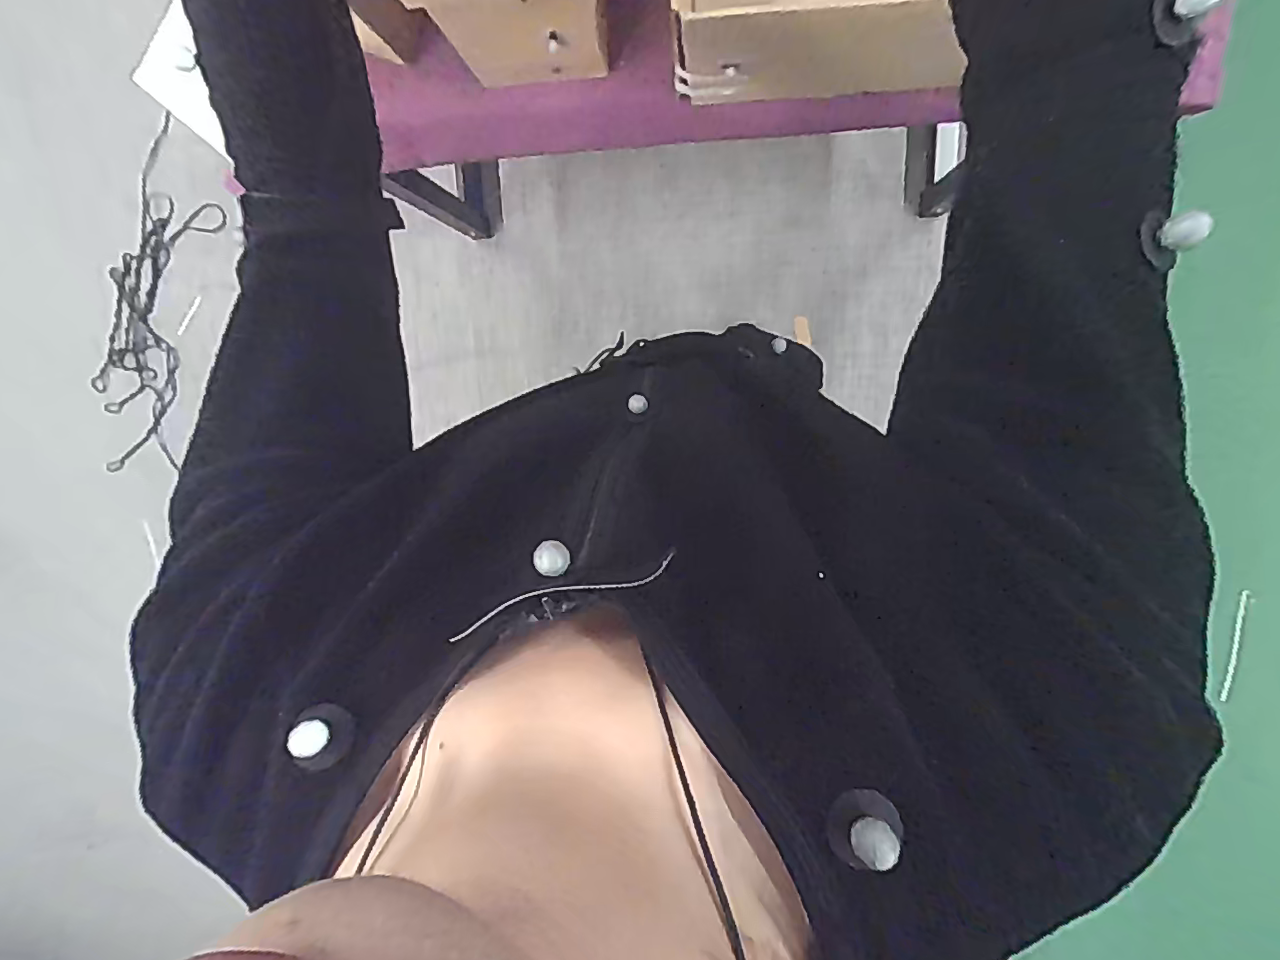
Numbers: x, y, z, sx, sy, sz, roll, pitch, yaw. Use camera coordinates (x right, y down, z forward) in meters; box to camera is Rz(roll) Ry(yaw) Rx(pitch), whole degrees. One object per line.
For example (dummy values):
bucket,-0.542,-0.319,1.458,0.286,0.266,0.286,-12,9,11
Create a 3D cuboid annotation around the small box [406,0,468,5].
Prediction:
small box,-0.157,-0.534,0.436,0.179,0.176,0.168,0,100,6
